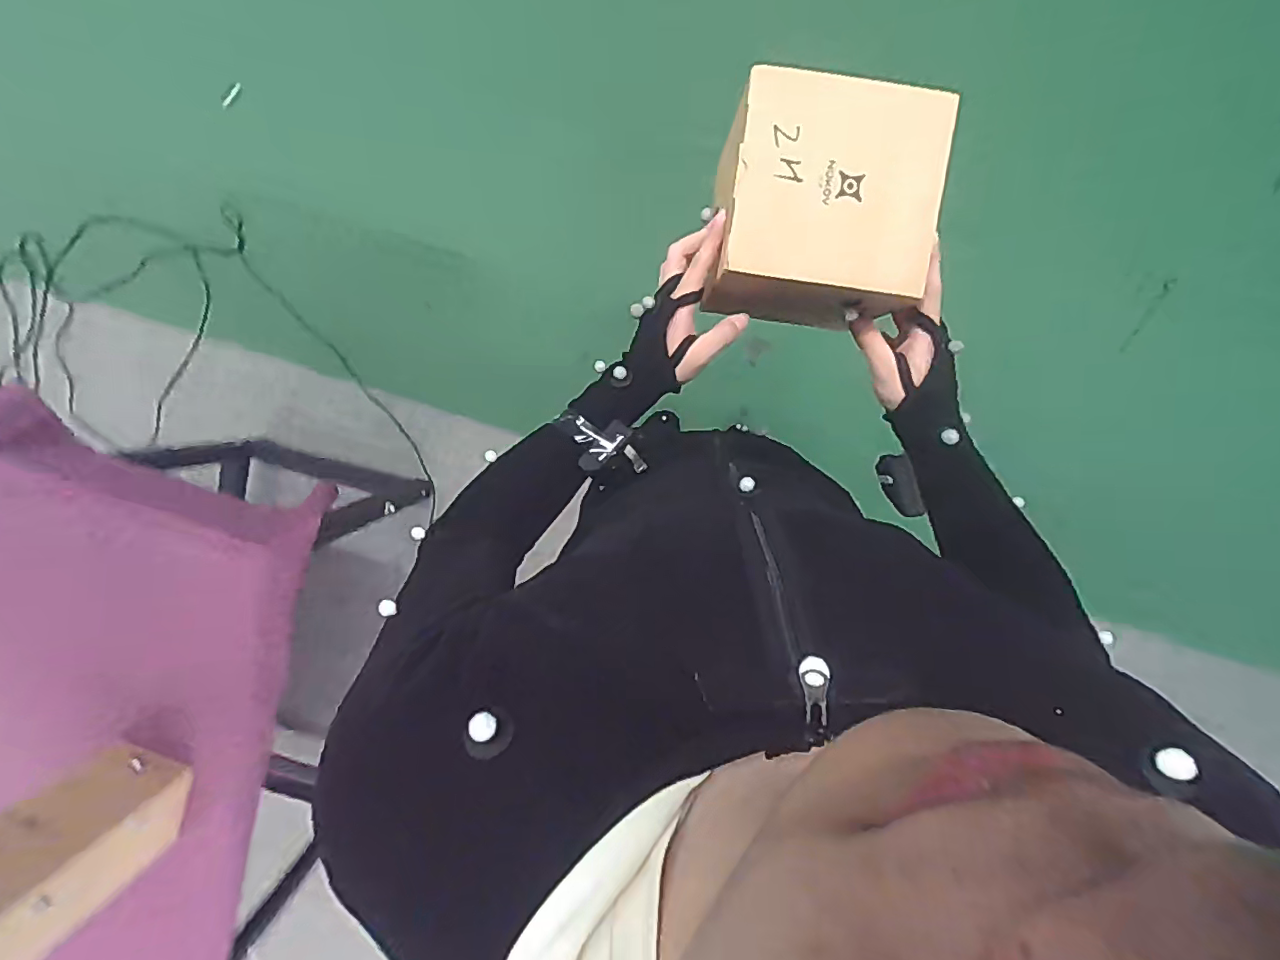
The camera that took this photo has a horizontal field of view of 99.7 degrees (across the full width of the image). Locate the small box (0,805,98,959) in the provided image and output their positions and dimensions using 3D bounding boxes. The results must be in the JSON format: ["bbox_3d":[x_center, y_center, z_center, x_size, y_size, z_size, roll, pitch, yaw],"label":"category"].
[{"bbox_3d":[-0.994,0.645,0.822,0.168,0.176,0.179,22,99,1],"label":"small box"}]
